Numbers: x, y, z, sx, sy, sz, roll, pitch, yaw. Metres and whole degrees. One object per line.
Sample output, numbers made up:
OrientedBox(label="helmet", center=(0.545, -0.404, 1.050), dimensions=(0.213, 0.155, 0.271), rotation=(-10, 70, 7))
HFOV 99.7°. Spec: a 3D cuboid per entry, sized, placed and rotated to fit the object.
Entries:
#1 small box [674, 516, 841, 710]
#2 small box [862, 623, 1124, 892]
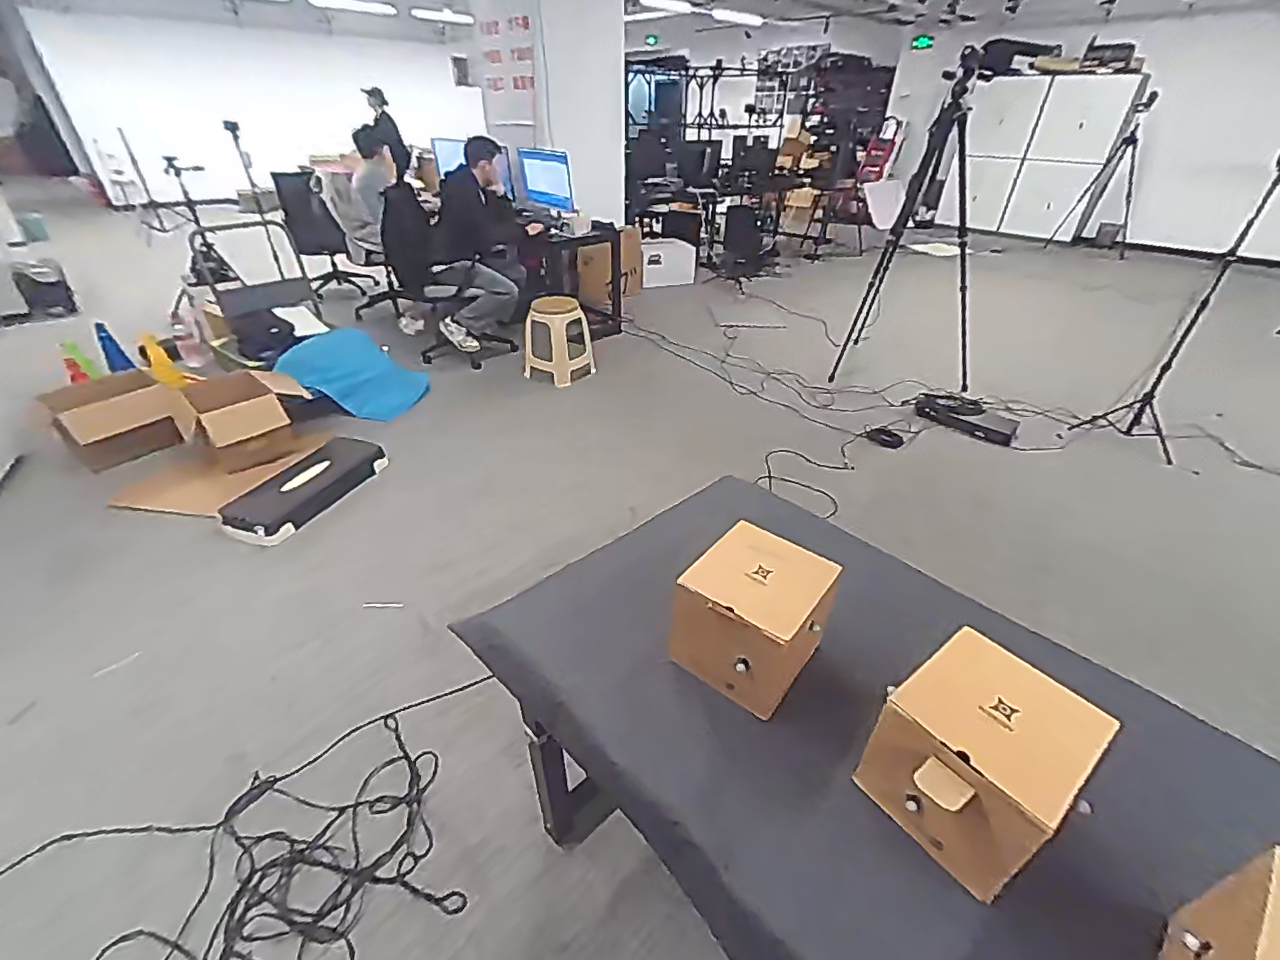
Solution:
OrientedBox(label="small box", center=(0.161, 0.187, 0.776), dimensions=(0.168, 0.176, 0.179), rotation=(26, 40, 30))
OrientedBox(label="small box", center=(0.380, 0.304, 0.609), dimensions=(0.179, 0.176, 0.168), rotation=(-23, 41, -30))
